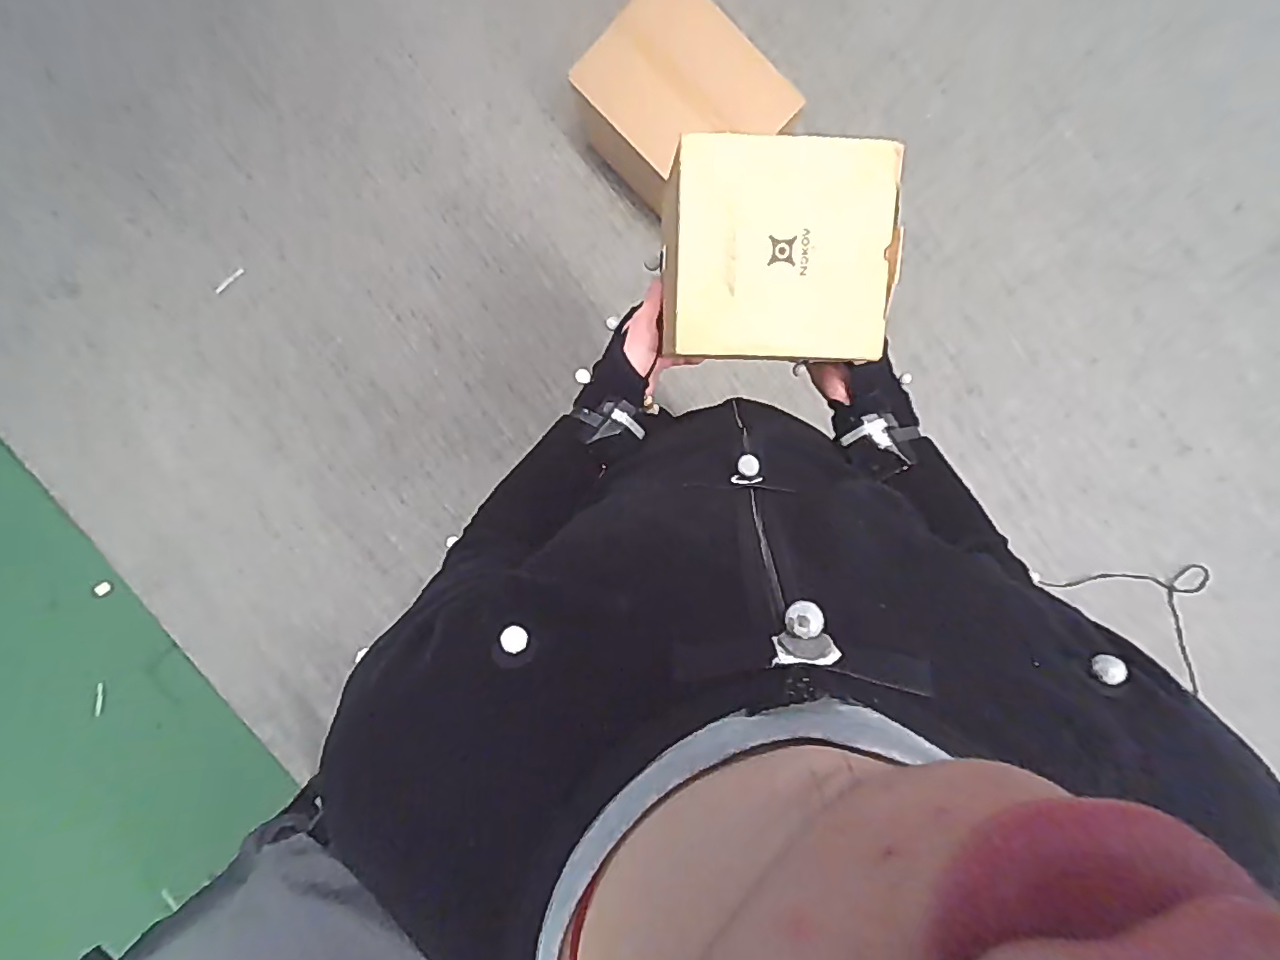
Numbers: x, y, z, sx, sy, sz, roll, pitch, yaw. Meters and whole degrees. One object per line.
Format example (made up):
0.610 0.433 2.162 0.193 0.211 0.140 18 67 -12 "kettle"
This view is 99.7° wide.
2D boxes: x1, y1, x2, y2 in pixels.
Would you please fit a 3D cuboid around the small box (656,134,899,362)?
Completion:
0.109 -0.198 0.507 0.179 0.176 0.168 0 101 -2 "small box"
